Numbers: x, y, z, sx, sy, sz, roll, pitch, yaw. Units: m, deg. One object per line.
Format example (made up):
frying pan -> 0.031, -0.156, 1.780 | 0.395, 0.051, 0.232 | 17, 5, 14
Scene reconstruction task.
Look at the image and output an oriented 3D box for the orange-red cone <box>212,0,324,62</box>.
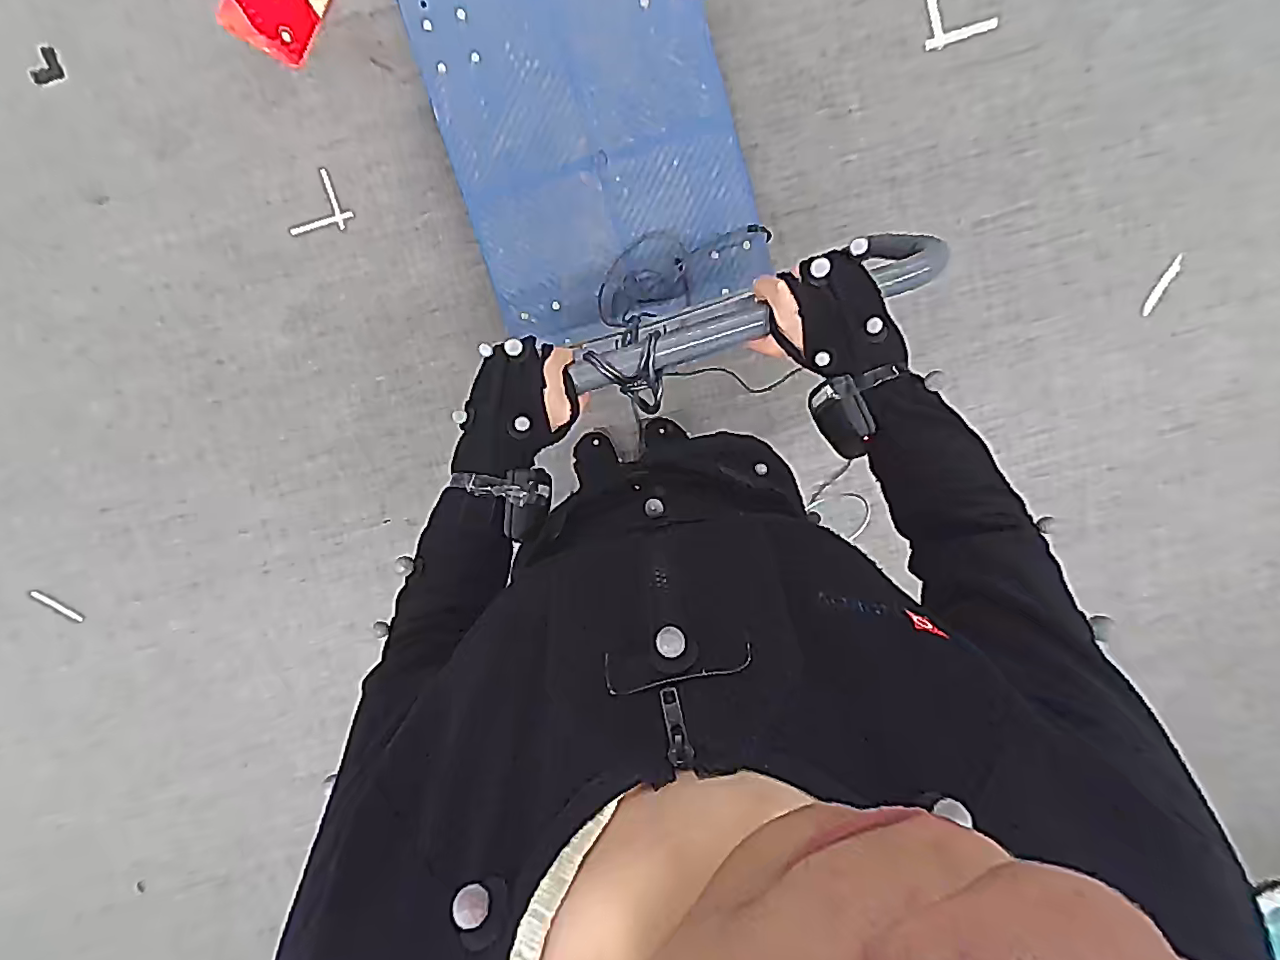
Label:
orange-red cone -> -0.800, -1.030, 1.013 | 0.198, 0.360, 0.199 | 30, 95, -6
